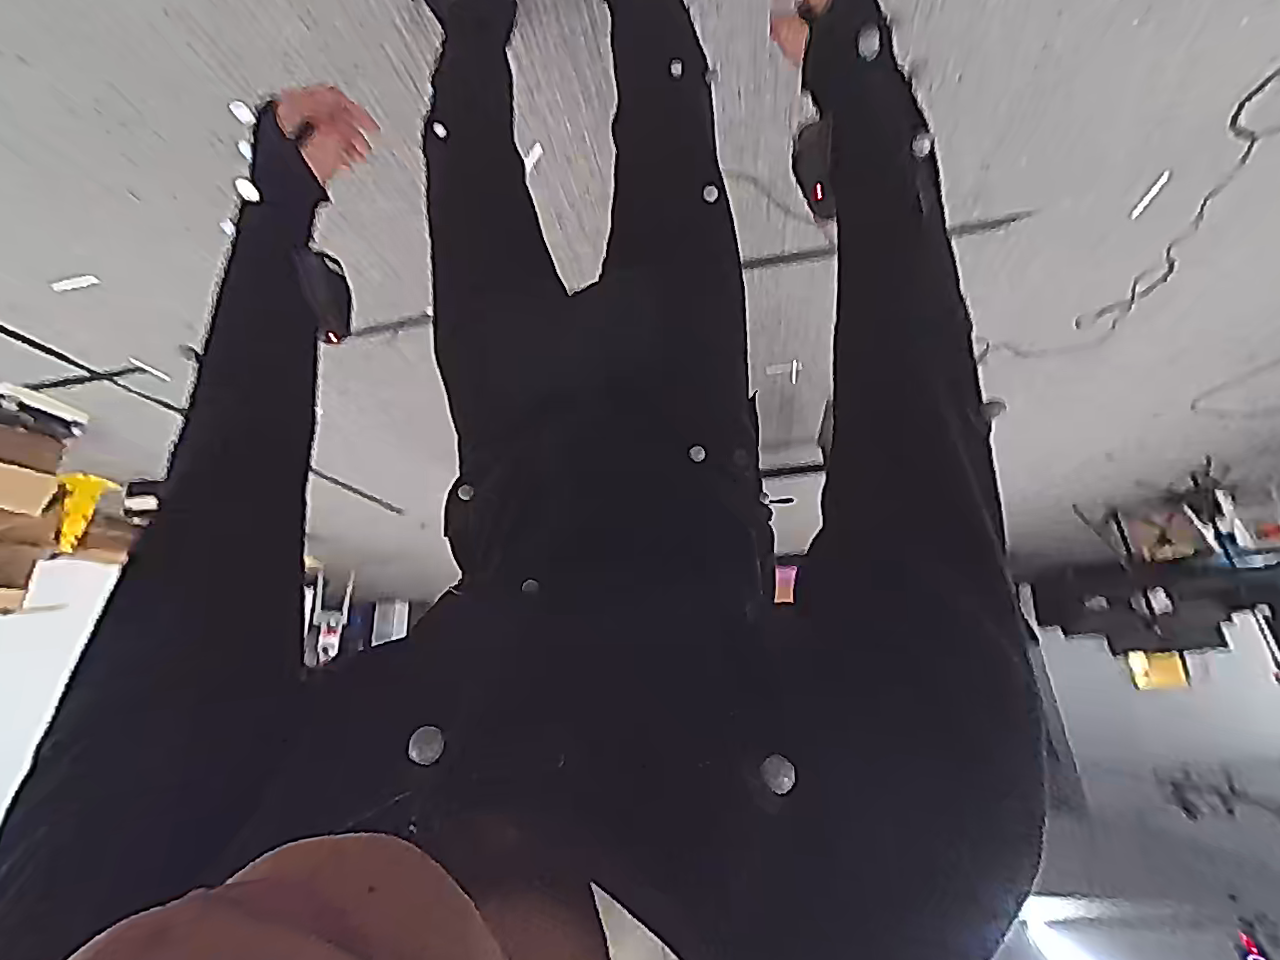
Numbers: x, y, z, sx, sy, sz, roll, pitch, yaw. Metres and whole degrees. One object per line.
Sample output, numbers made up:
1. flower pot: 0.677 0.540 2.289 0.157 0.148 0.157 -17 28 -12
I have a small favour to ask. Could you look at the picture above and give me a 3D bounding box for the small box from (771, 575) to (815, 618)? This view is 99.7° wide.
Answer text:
1. small box: 0.697 0.532 2.477 0.168 0.176 0.179 -7 160 10
